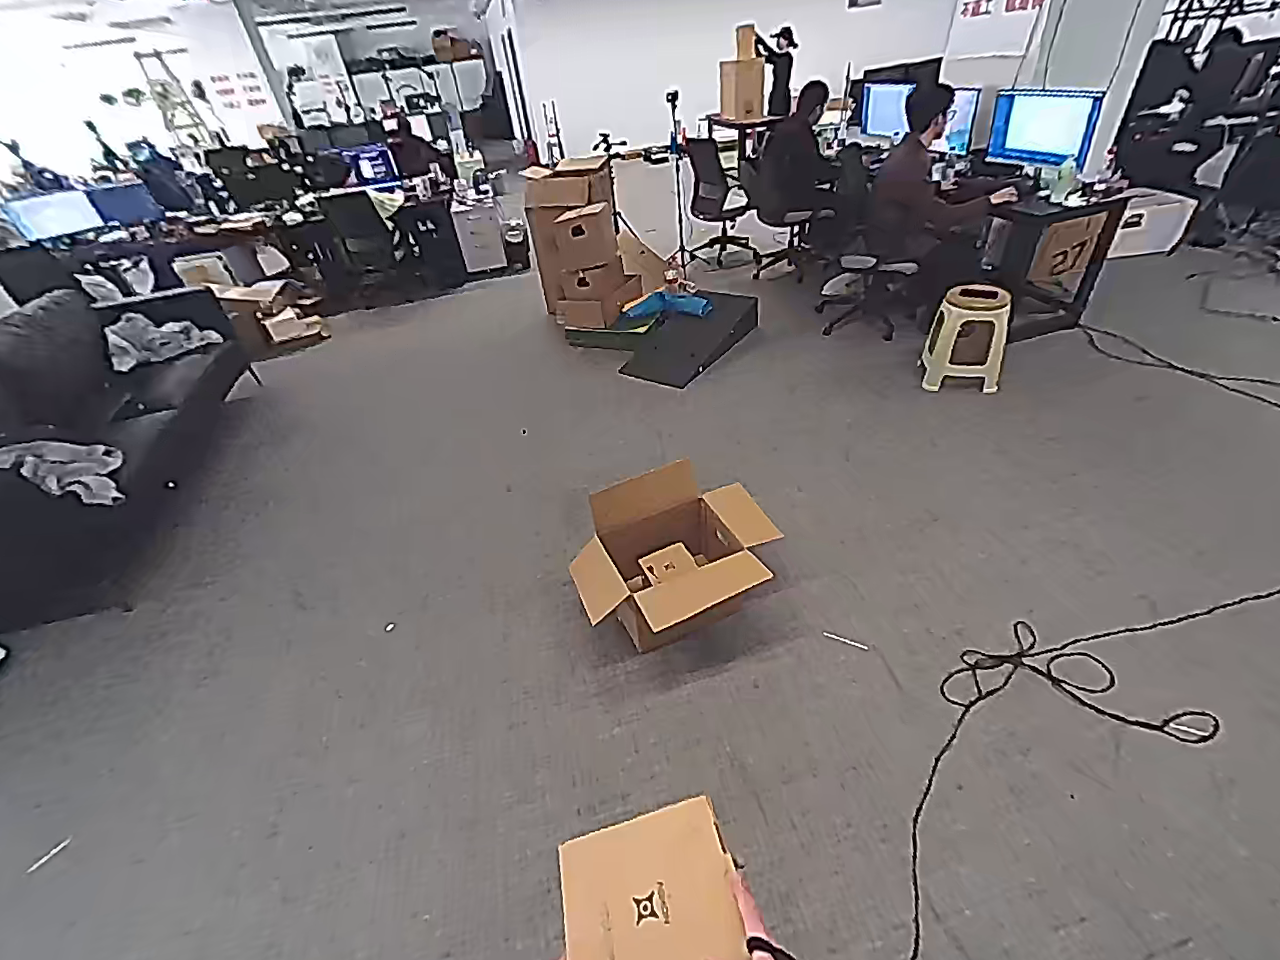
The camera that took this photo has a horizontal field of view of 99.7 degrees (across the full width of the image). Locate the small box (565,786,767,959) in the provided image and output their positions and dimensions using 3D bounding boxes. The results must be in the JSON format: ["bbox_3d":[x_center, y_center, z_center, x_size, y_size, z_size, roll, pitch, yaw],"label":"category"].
[{"bbox_3d":[0.032,0.465,0.570,0.179,0.176,0.168,-18,33,1],"label":"small box"}]
